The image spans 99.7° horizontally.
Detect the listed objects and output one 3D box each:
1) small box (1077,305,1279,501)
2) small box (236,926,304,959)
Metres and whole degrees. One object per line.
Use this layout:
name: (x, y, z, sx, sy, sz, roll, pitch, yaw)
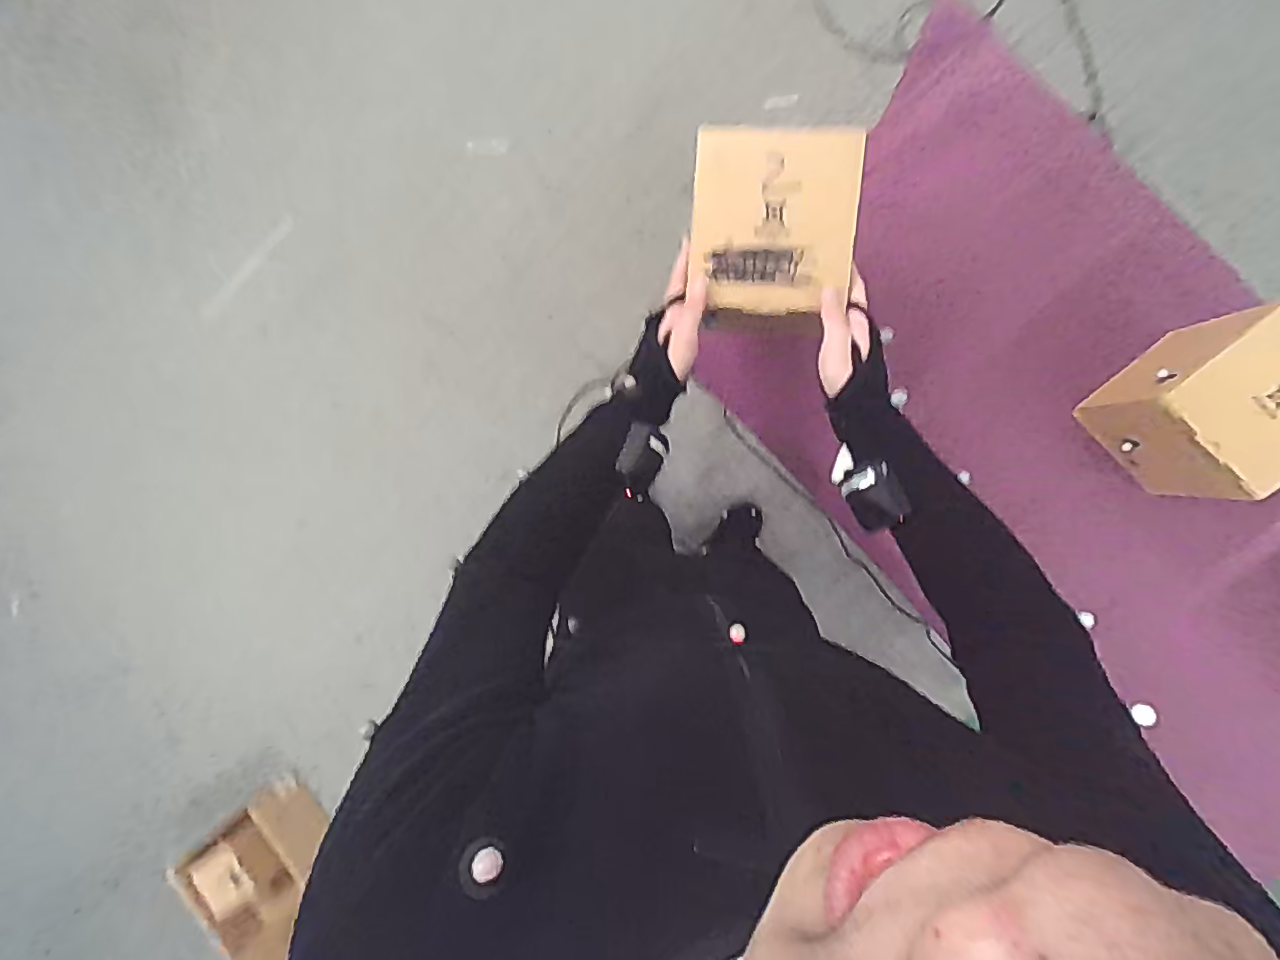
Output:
small box: (0.748, -0.096, 0.712, 0.179, 0.176, 0.168, -42, 87, 8)
small box: (-1.115, 1.457, 1.554, 0.179, 0.176, 0.168, -42, 87, 8)
